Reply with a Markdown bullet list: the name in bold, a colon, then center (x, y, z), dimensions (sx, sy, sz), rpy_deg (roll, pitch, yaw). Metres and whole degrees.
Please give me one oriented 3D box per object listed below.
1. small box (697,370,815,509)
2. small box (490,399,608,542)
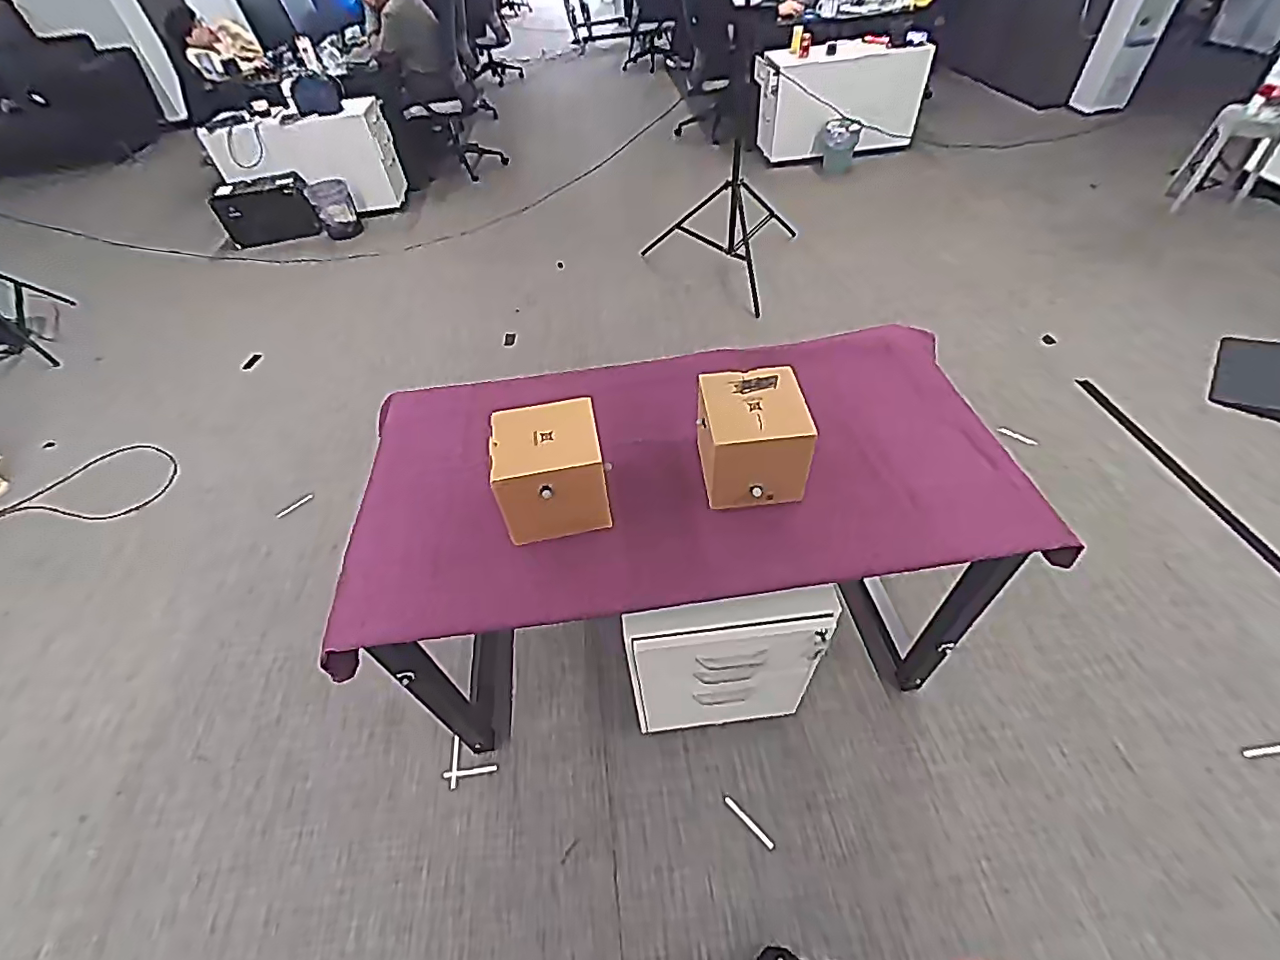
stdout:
- **small box**: center (0.194, -0.070, 0.962), dimensions (0.168, 0.176, 0.179), rpy_deg (-6, 49, 1)
- **small box**: center (-0.153, -0.014, 0.945), dimensions (0.179, 0.176, 0.168), rpy_deg (-11, 48, -3)
